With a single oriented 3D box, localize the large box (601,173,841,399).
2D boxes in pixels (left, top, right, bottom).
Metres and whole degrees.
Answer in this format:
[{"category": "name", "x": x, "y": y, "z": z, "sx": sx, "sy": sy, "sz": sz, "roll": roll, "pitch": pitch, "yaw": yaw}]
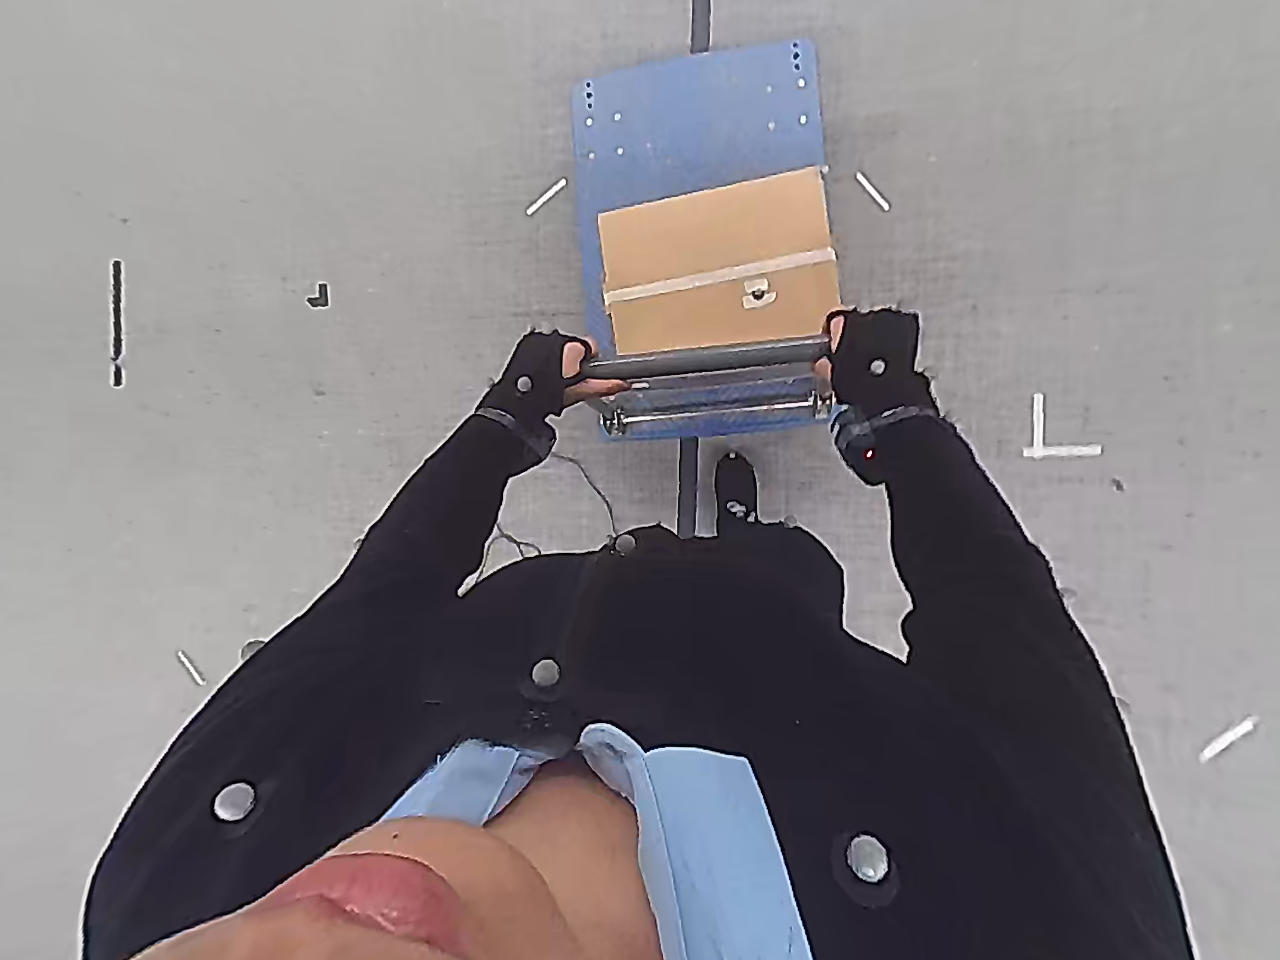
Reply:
[{"category": "large box", "x": 0.160, "y": -0.368, "z": 1.130, "sx": 0.408, "sy": 0.320, "sz": 0.320, "roll": -8, "pitch": 92, "yaw": 8}]
